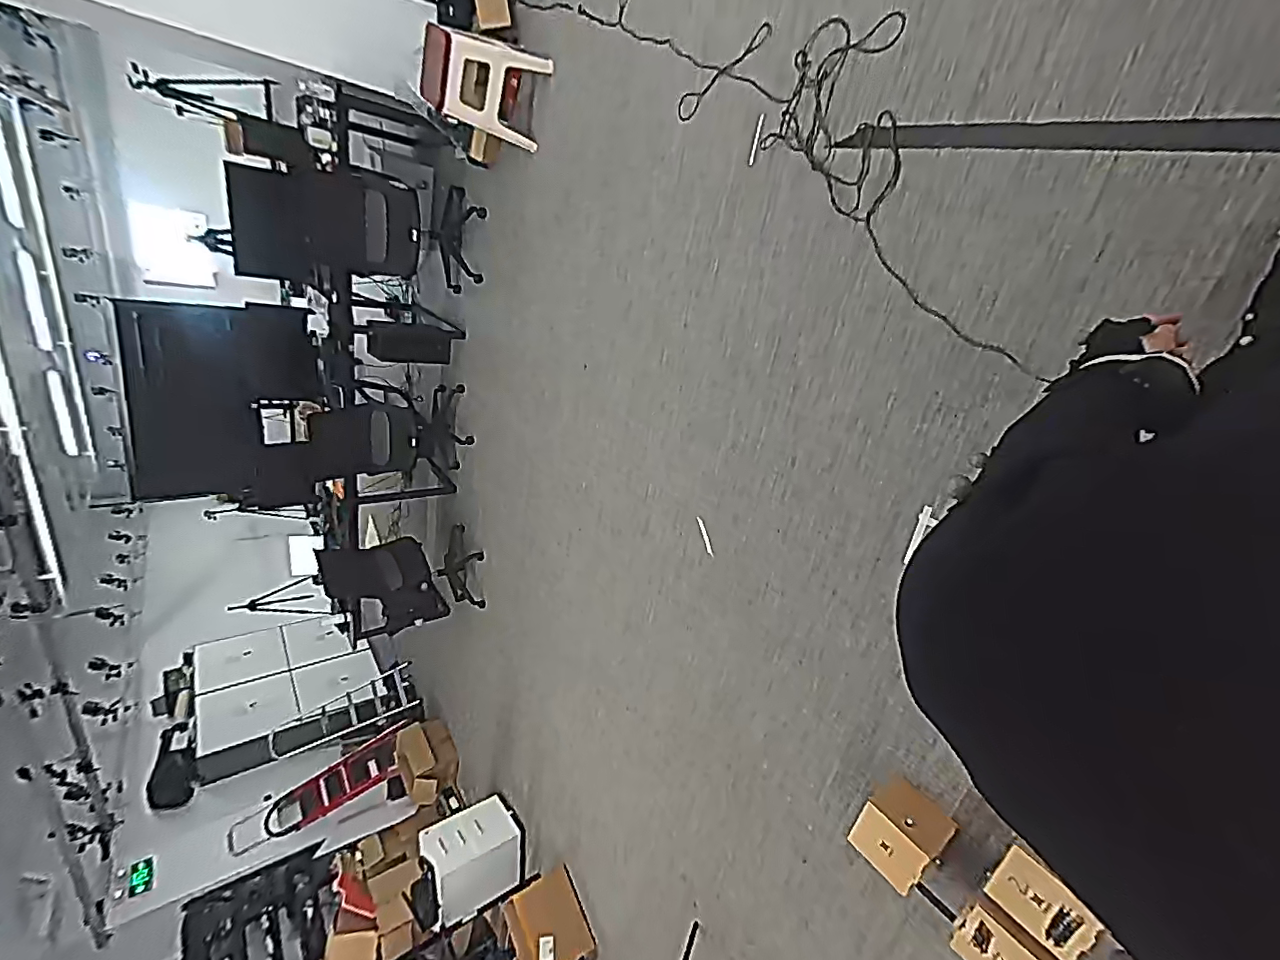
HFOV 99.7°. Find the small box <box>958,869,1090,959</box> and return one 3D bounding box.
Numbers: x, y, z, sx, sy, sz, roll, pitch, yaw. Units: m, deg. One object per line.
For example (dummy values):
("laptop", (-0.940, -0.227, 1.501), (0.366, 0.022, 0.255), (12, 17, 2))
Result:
("small box", (0.892, 1.056, 1.257), (0.179, 0.176, 0.168), (35, 122, 43))

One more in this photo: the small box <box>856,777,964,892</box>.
("small box", (0.725, 0.937, 1.454), (0.179, 0.176, 0.168), (36, 123, 43))
